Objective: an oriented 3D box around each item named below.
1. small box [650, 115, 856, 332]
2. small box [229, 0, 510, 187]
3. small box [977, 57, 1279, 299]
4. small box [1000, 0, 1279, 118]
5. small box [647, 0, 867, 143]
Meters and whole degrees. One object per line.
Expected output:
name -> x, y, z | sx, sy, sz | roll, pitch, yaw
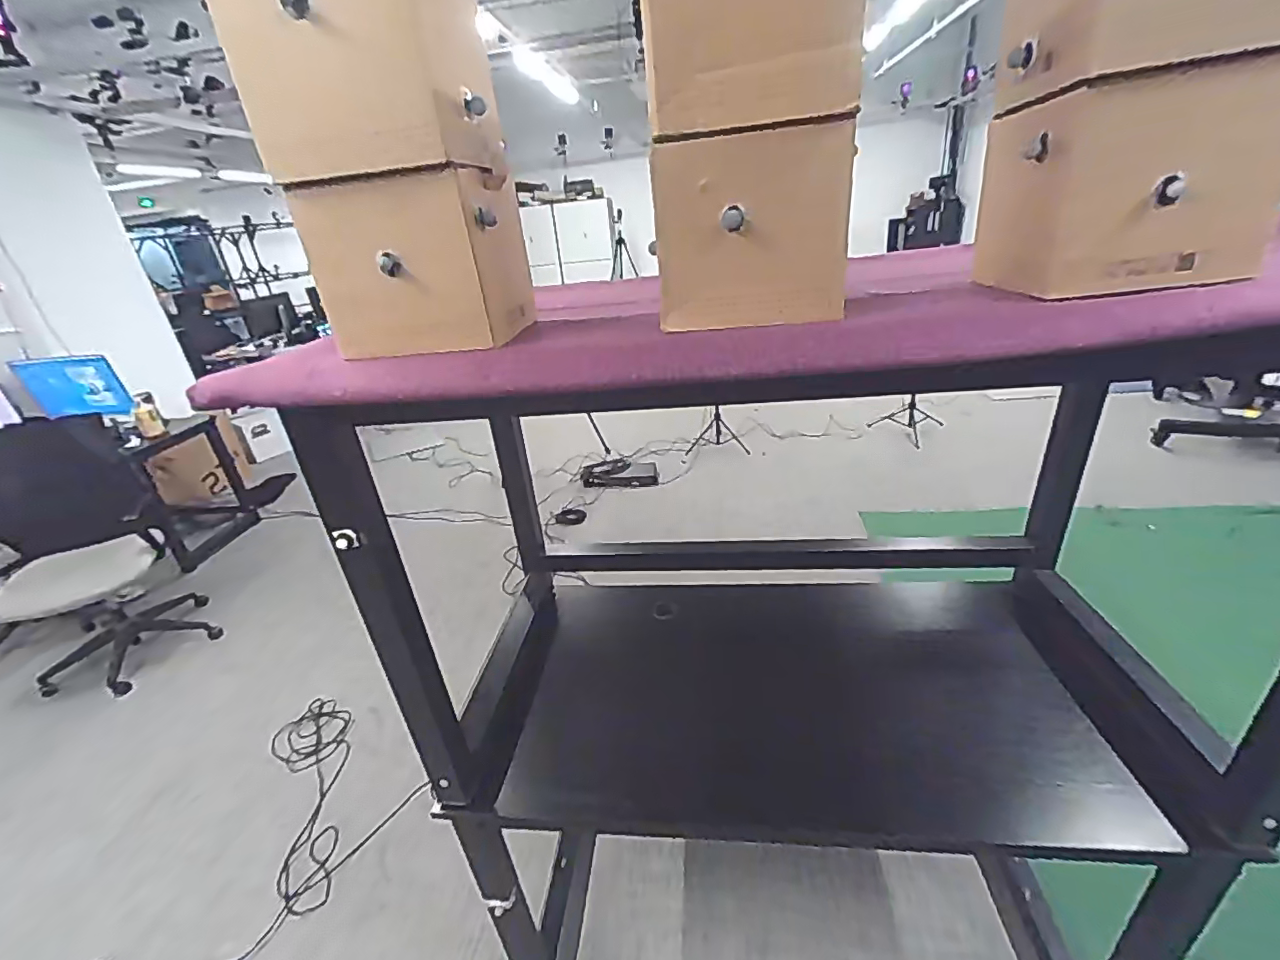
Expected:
small box -> 0.114, -0.255, 0.561 | 0.179, 0.176, 0.168 | -2, 27, 10
small box -> -0.245, -0.382, 0.518 | 0.179, 0.176, 0.168 | -2, 27, 8
small box -> 0.452, -0.273, 0.517 | 0.168, 0.176, 0.179 | -2, 25, 10
small box -> 0.429, -0.413, 0.438 | 0.179, 0.176, 0.168 | -4, 23, 10
small box -> 0.102, -0.399, 0.485 | 0.179, 0.176, 0.168 | 1, 27, 12
